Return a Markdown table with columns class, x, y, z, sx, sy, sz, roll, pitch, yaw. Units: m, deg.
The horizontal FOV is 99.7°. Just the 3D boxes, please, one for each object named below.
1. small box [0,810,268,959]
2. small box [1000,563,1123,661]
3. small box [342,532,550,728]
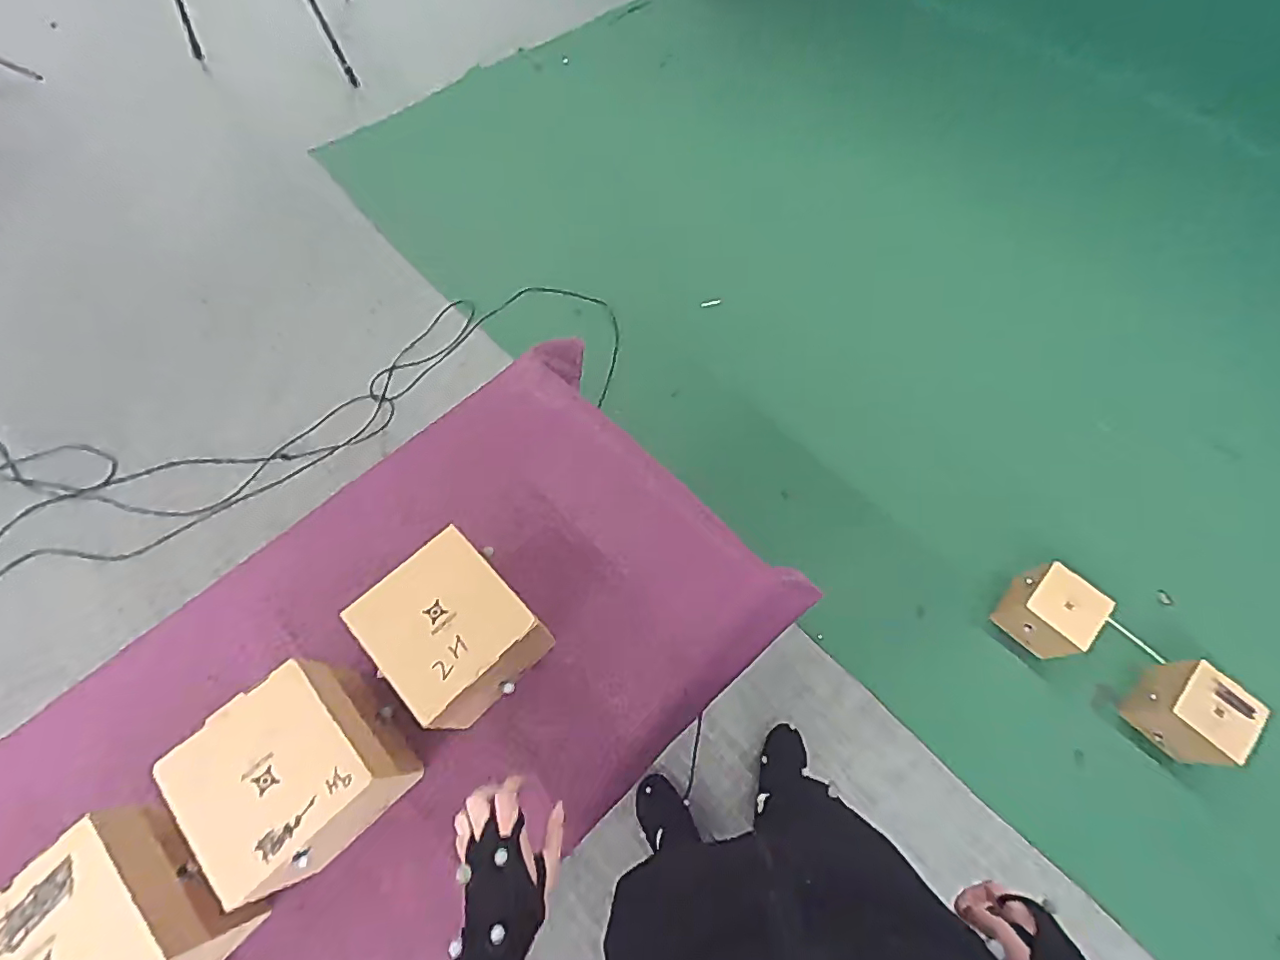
| class | x | y | z | sx | sy | sz | roll | pitch | yaw |
| --- | --- | --- | --- | --- | --- | --- | --- | --- | --- |
| small box | -0.559 | 0.489 | 0.581 | 0.179 | 0.176 | 0.168 | 42 | 72 | 16 |
| small box | 1.111 | 0.358 | 1.442 | 0.168 | 0.176 | 0.179 | 42 | 71 | 18 |
| small box | -0.242 | 0.205 | 0.715 | 0.168 | 0.176 | 0.179 | -41 | 72 | -16 |
